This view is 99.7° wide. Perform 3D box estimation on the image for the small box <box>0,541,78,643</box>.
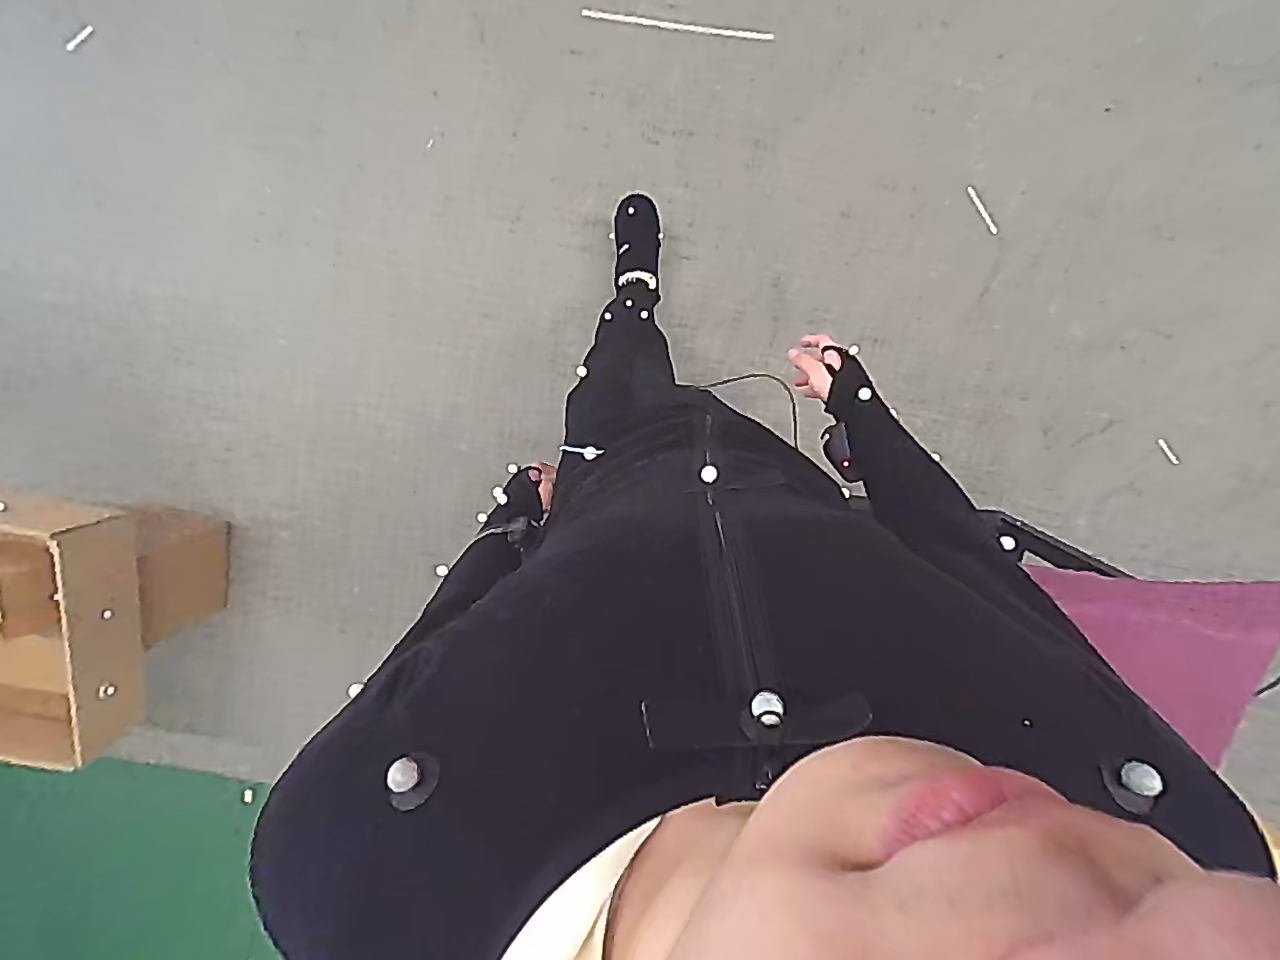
[{"bbox_3d":[-1.468,0.251,1.247,0.179,0.176,0.168,11,103,-1],"label":"small box"}]
